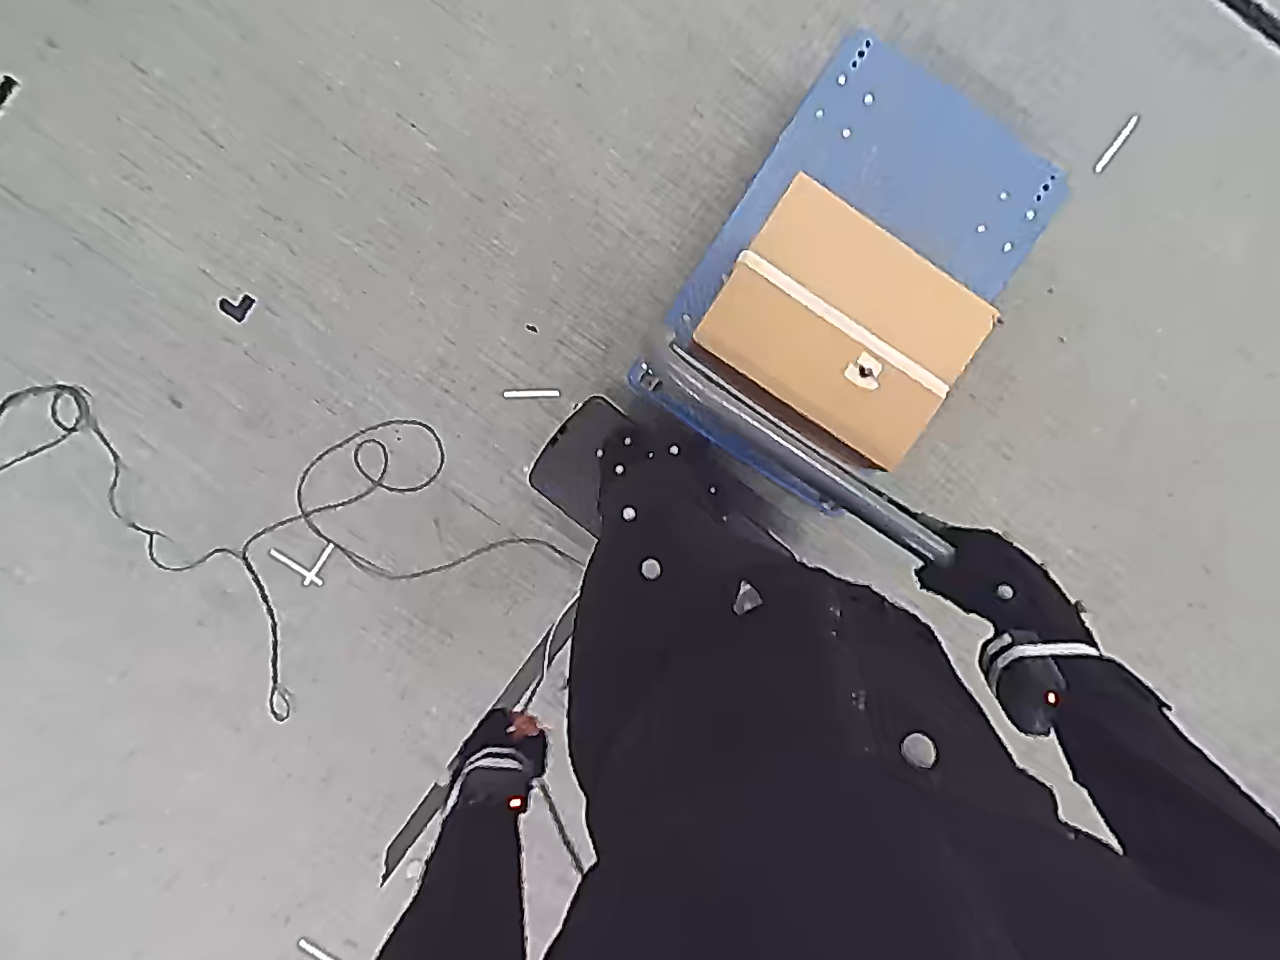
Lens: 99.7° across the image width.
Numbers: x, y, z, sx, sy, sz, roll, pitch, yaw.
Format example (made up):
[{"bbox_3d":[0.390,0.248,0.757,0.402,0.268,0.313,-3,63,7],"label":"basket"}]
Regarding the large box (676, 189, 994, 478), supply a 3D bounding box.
[{"bbox_3d":[0.325,-0.244,1.020,0.408,0.320,0.320,33,94,-4],"label":"large box"}]
